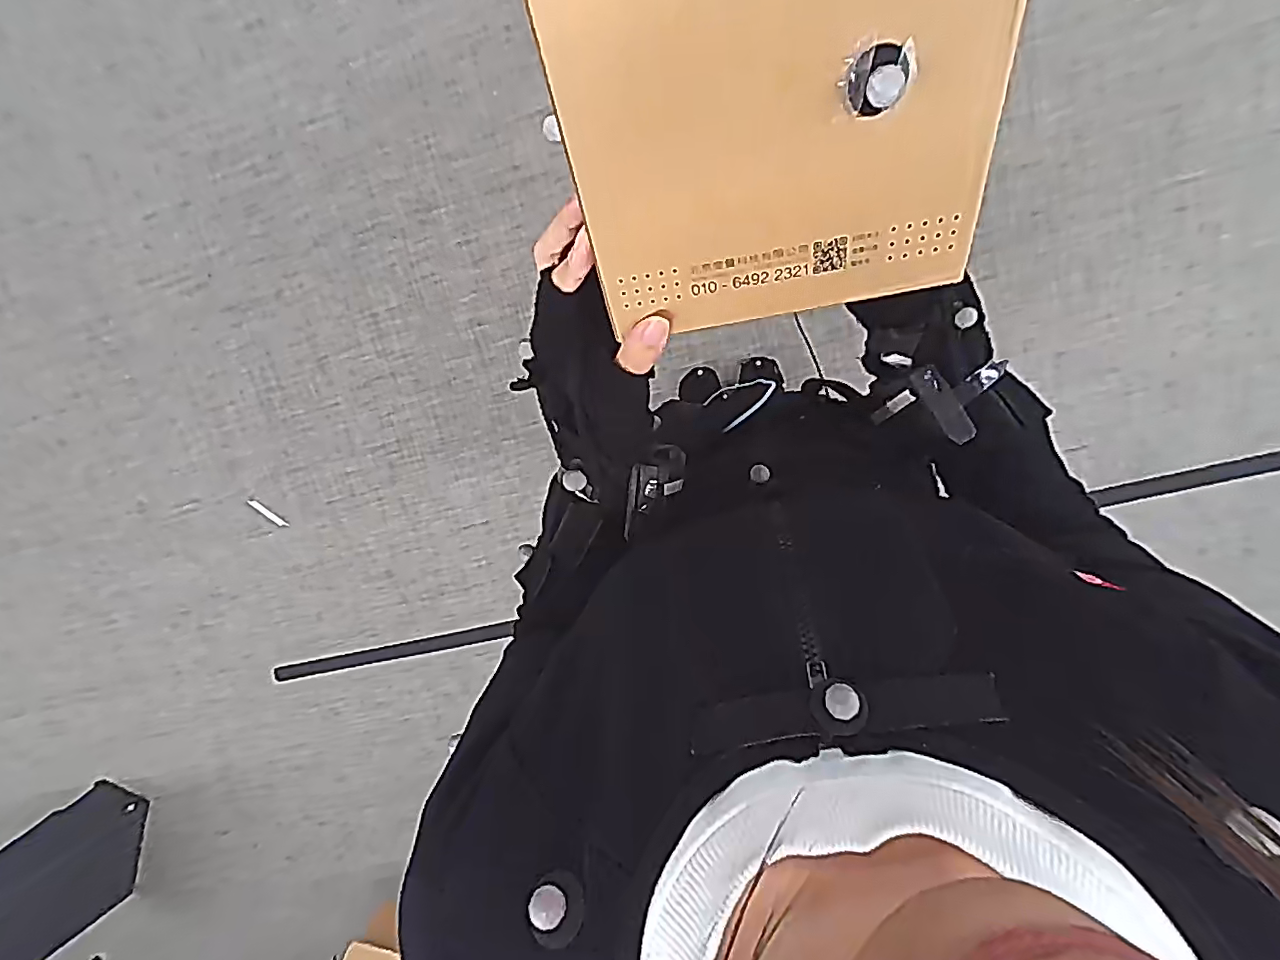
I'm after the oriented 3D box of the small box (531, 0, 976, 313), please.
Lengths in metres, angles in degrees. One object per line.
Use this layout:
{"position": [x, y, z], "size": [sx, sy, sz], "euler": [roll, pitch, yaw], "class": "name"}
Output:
{"position": [0.056, -0.202, 0.284], "size": [0.168, 0.179, 0.176], "euler": [-7, 135, 9], "class": "small box"}
